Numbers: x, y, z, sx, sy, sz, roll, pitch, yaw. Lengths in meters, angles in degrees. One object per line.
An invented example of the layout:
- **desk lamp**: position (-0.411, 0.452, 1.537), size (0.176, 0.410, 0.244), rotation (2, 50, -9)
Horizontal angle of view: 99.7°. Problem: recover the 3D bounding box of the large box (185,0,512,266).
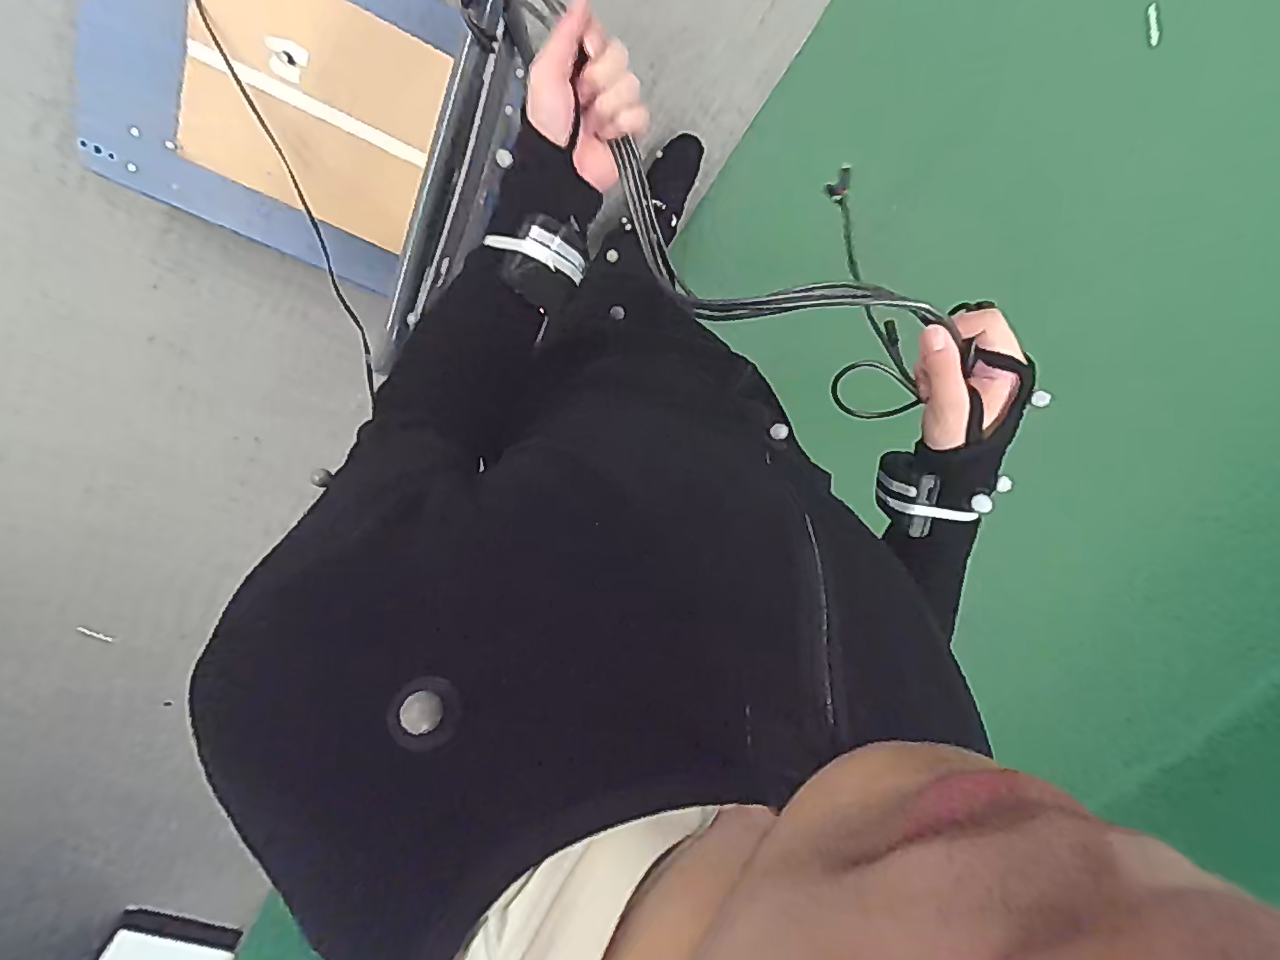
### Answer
- **large box**: position (-0.489, -0.627, 0.981), size (0.408, 0.320, 0.320), rotation (21, 110, -13)
